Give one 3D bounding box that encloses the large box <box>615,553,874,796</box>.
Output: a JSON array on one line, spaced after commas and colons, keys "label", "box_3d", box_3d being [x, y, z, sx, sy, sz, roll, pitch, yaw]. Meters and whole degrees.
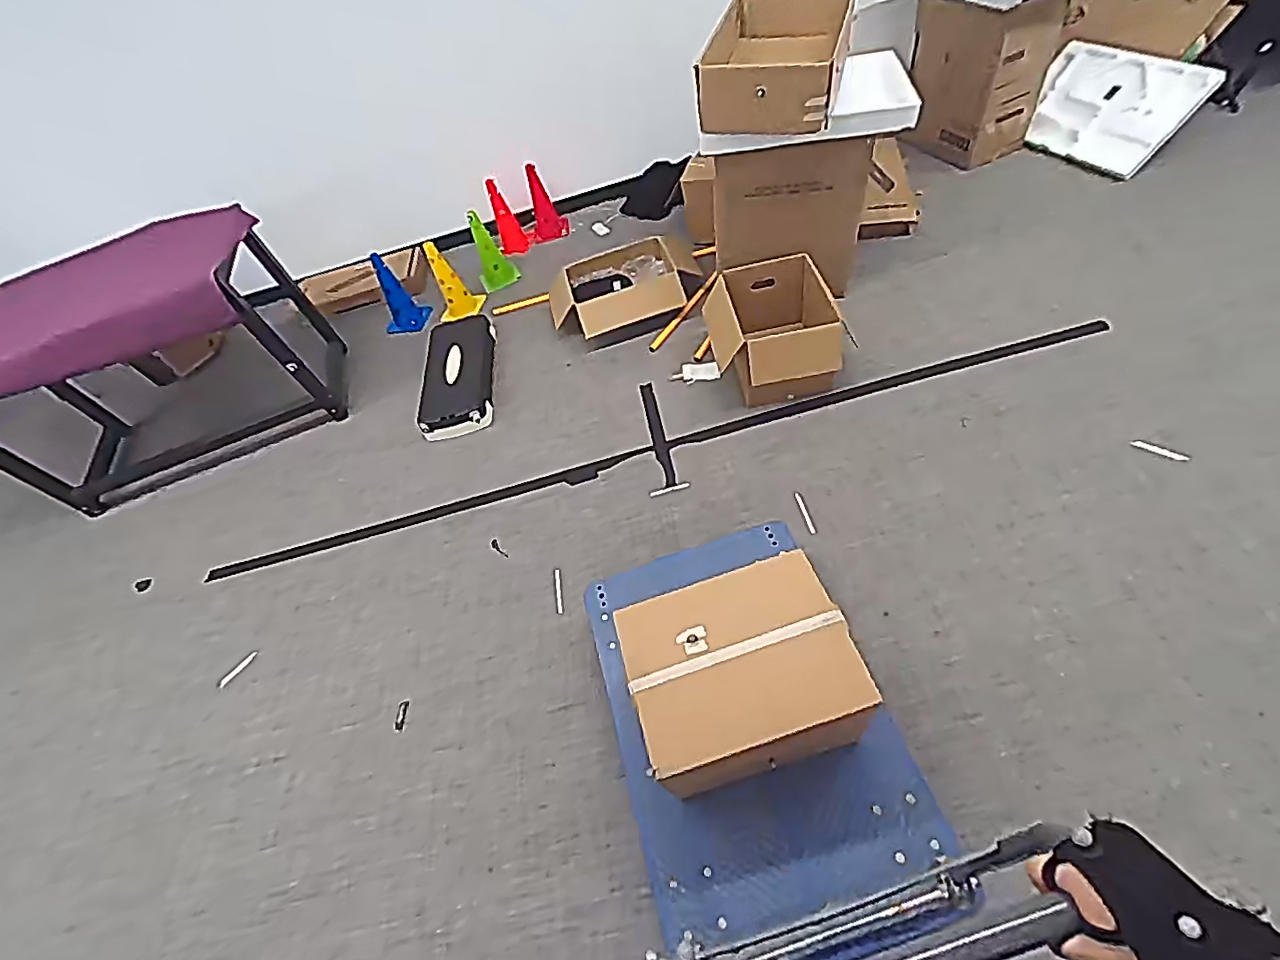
[{"label": "large box", "box_3d": [0.206, 0.413, 1.128, 0.408, 0.320, 0.320, -20, 51, 0]}]
